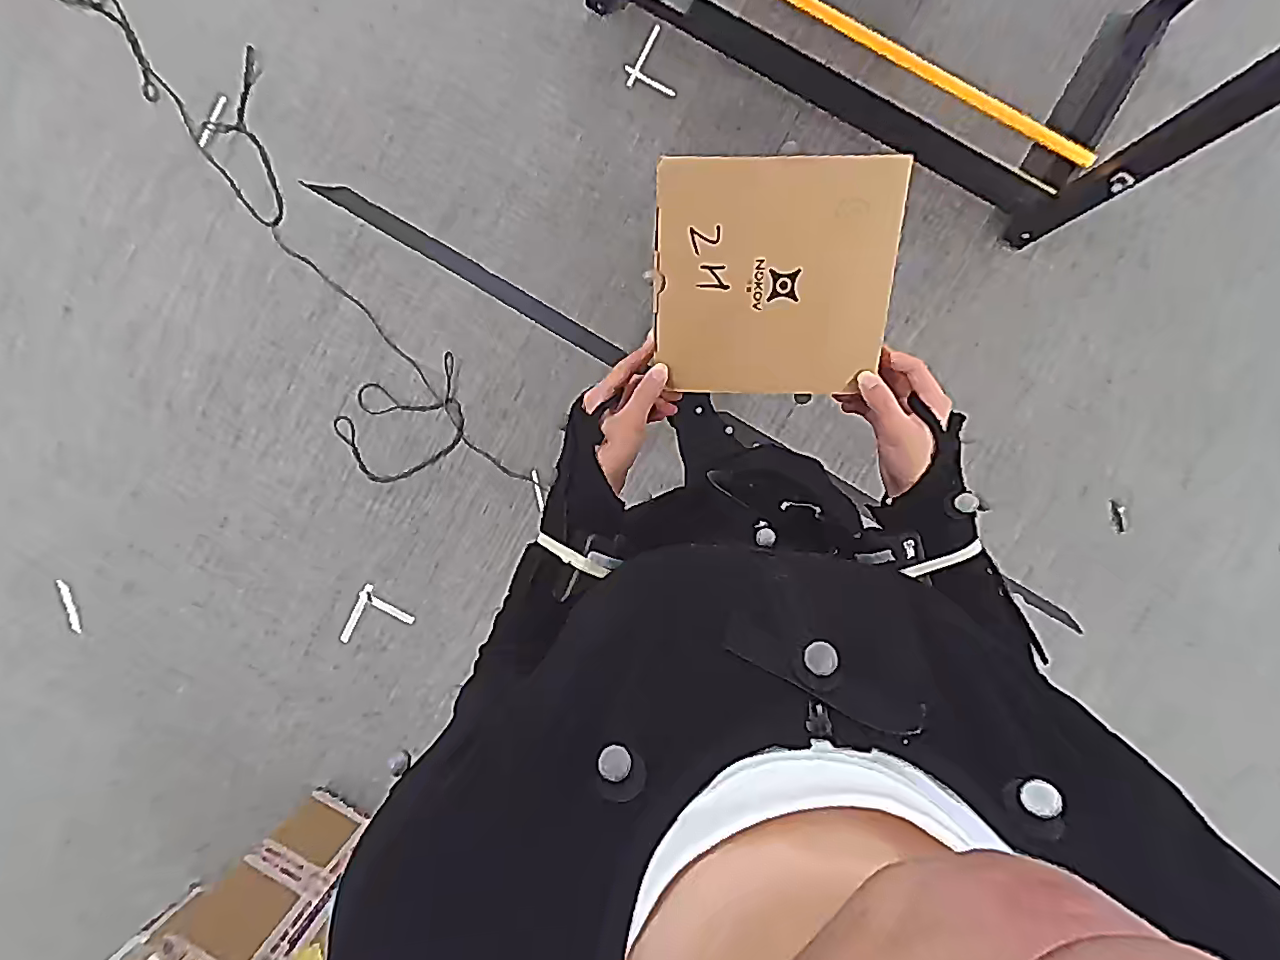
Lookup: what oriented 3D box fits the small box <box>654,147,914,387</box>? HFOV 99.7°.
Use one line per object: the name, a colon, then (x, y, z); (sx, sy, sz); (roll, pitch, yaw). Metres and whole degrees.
small box: (0.104, -0.182, 0.475); (0.179, 0.176, 0.168); (2, 112, 3)
